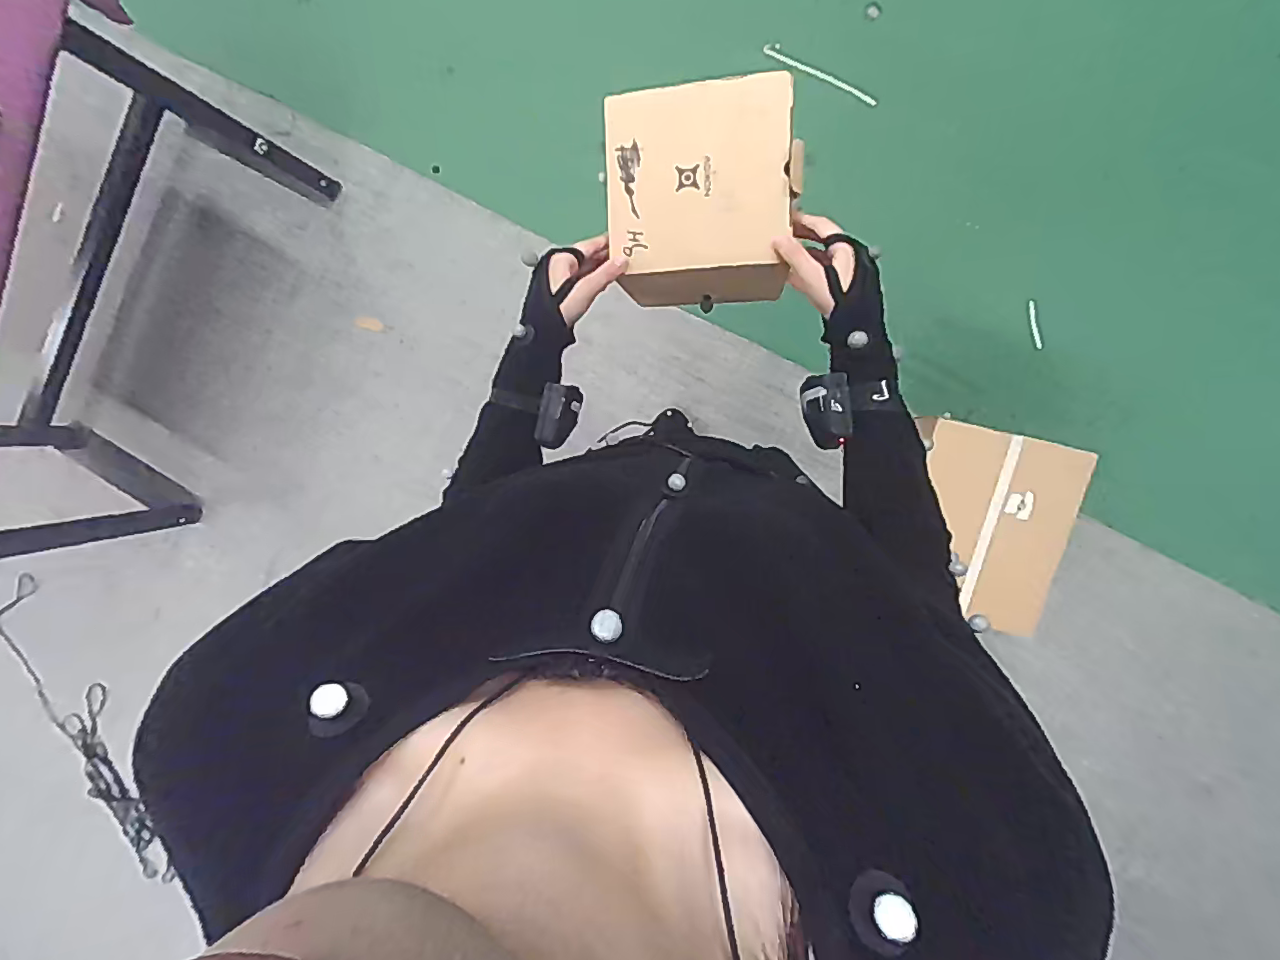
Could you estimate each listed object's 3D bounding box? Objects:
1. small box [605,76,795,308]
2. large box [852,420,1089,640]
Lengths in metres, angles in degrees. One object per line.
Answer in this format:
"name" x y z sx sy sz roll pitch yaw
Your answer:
"small box" 0.066 -0.288 0.580 0.179 0.176 0.168 0 95 10
"large box" 0.729 0.096 1.262 0.320 0.320 0.408 15 96 7
